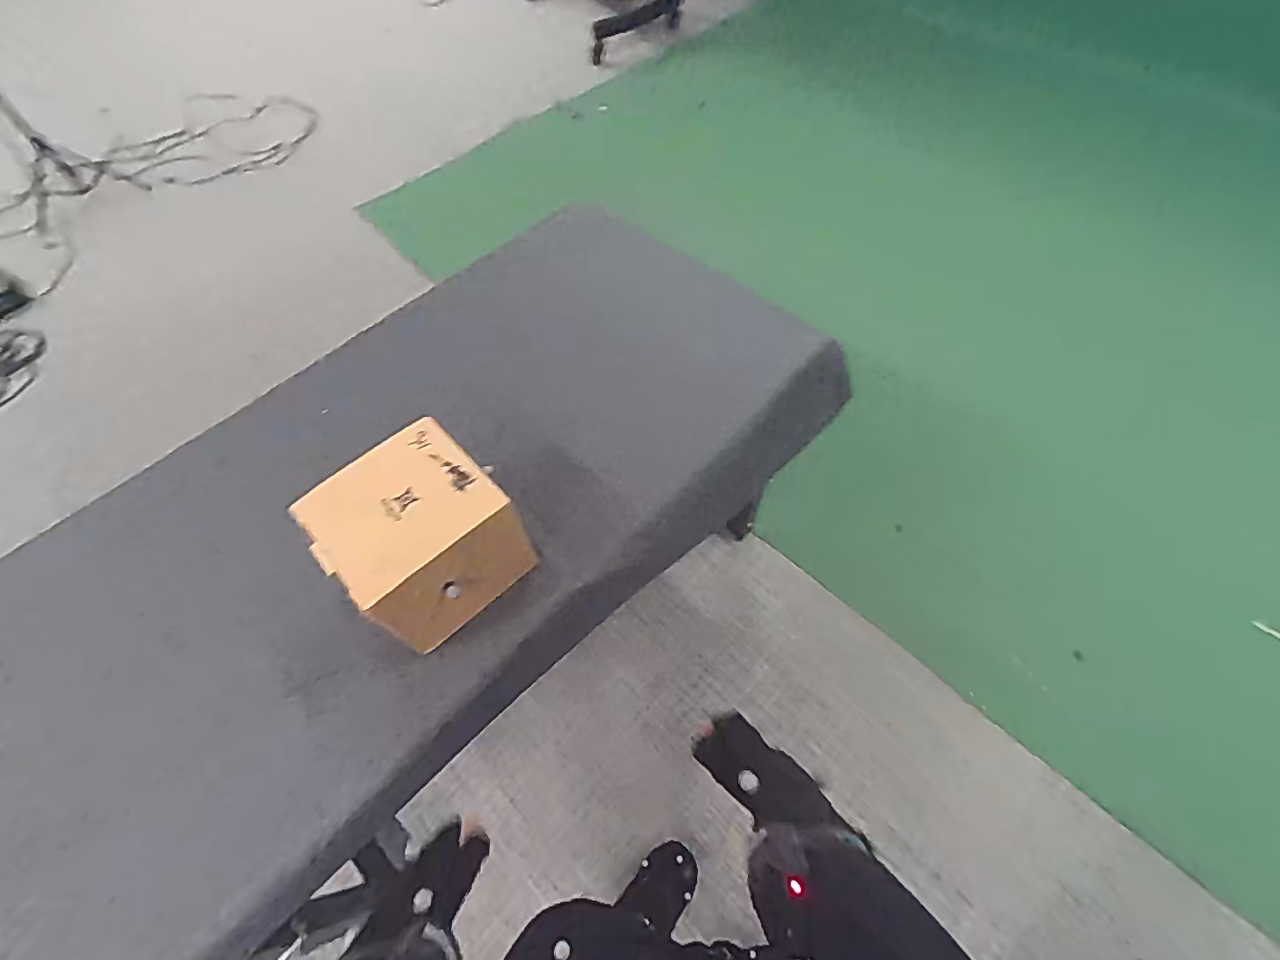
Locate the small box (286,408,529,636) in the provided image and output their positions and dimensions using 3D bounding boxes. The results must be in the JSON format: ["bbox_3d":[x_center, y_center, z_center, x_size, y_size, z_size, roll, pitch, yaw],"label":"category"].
[{"bbox_3d":[-0.258,0.057,0.641,0.179,0.176,0.168,-40,66,-18],"label":"small box"}]
